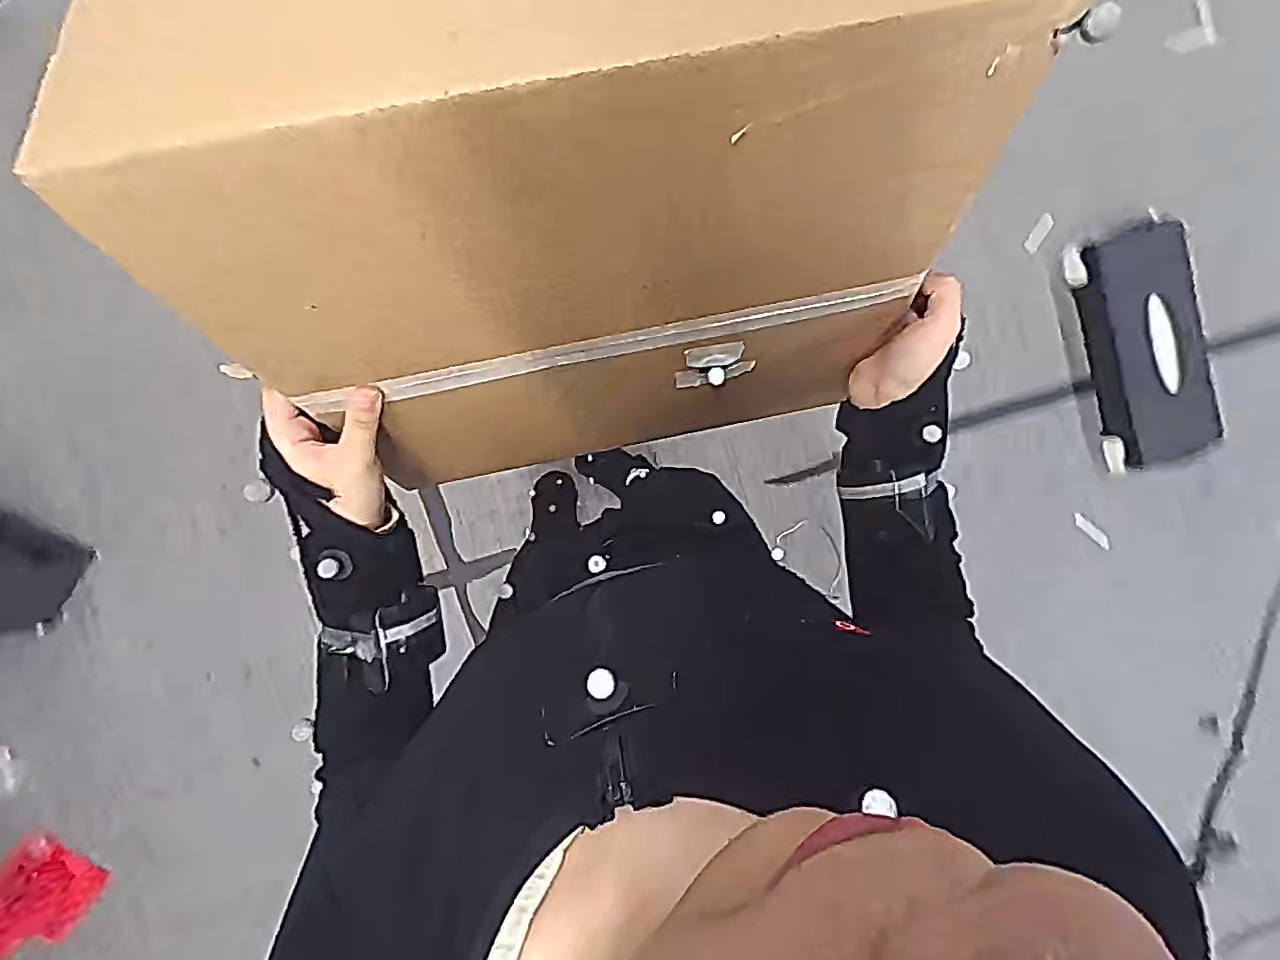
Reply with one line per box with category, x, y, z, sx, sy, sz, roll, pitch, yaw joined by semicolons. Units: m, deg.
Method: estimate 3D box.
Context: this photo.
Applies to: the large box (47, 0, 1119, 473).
large box;-0.031;-0.237;0.378;0.408;0.320;0.320;-11;69;-2
